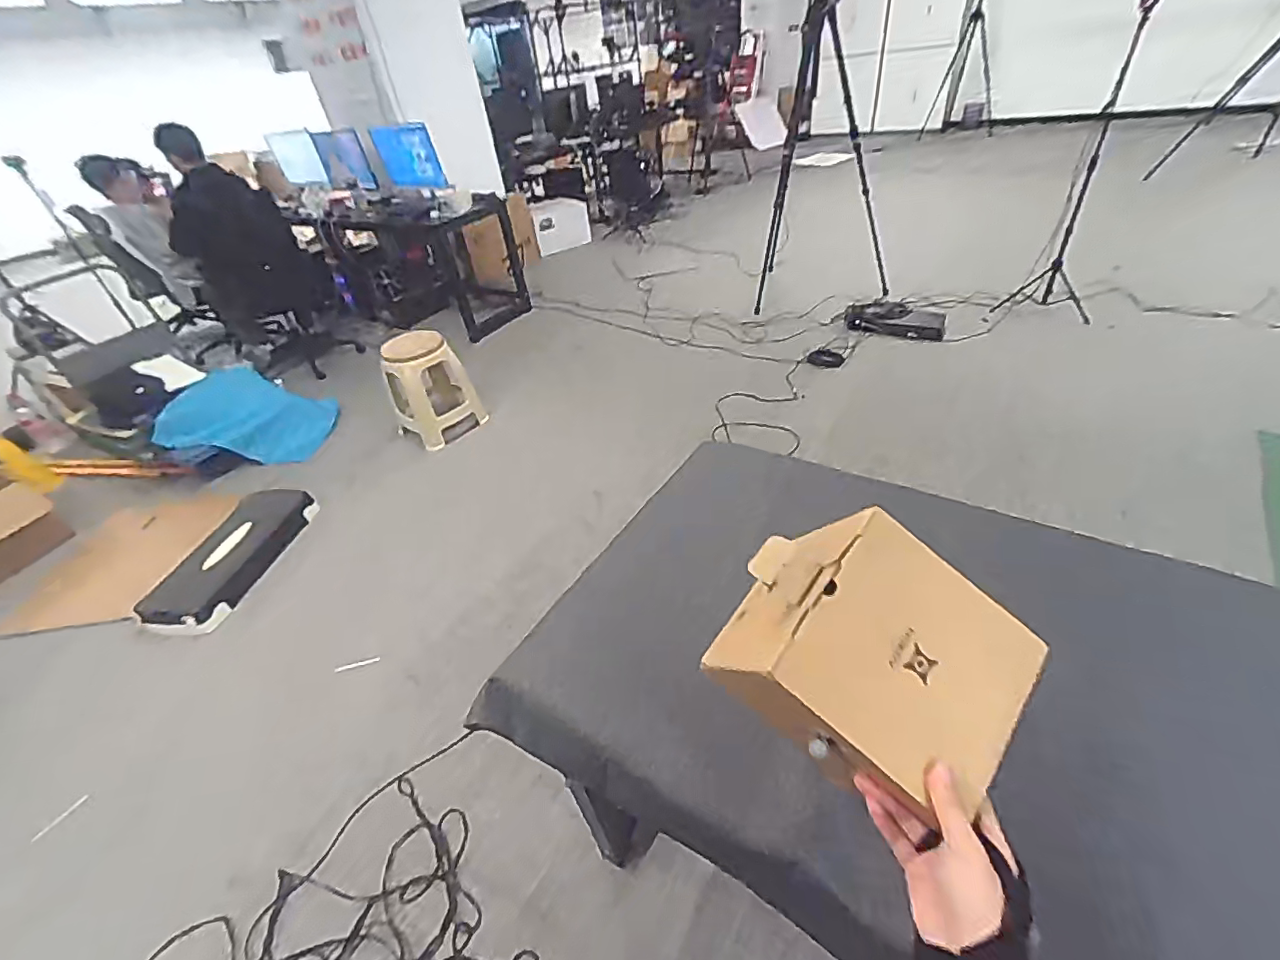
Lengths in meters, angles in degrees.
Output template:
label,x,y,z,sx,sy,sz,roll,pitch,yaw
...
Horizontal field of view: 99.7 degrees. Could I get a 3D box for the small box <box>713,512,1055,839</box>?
label,x,y,z,sx,sy,sz,roll,pitch,yaw
small box,0.195,0.157,0.475,0.179,0.176,0.168,40,70,3
